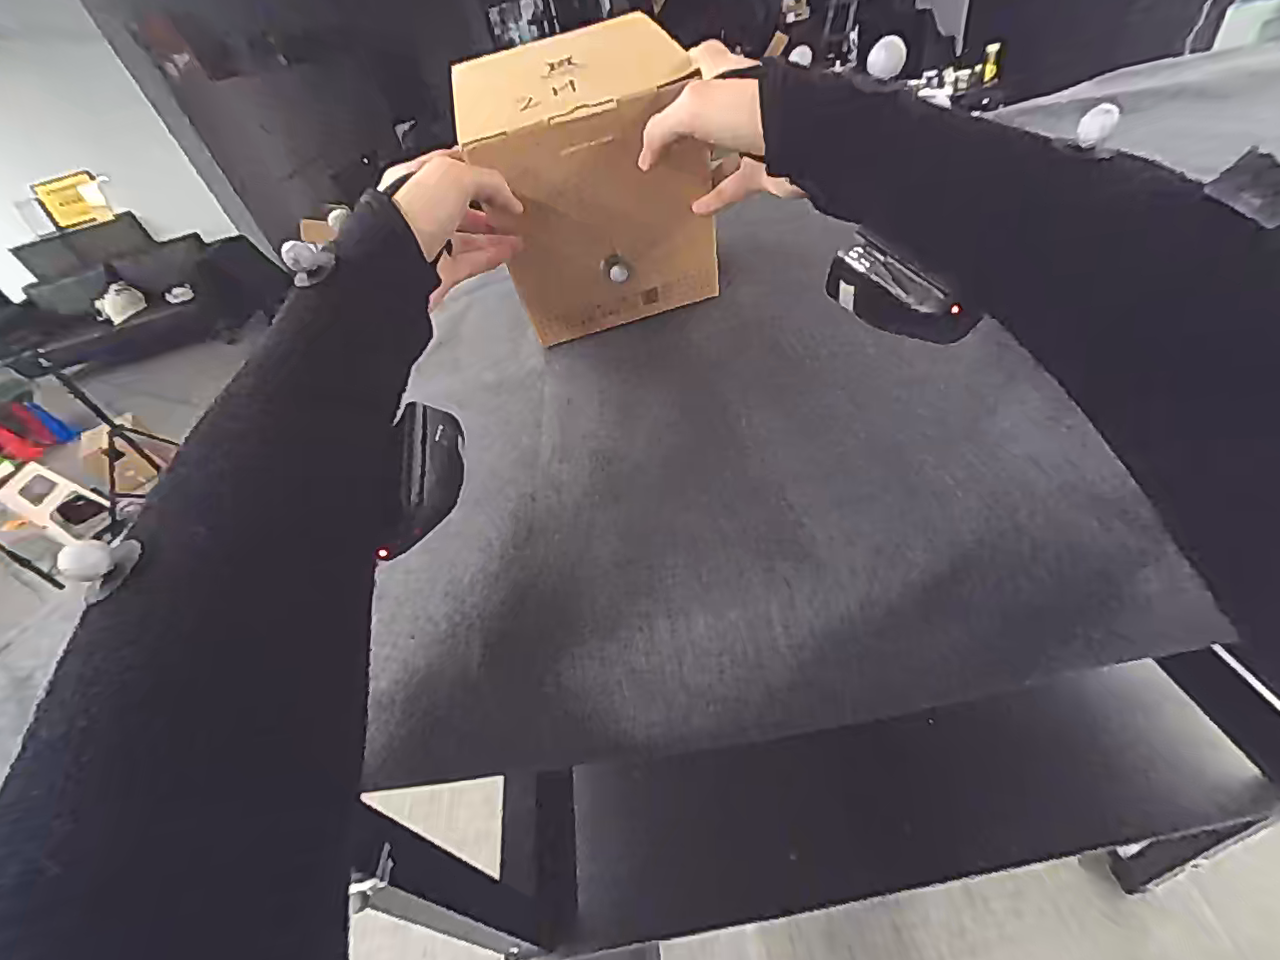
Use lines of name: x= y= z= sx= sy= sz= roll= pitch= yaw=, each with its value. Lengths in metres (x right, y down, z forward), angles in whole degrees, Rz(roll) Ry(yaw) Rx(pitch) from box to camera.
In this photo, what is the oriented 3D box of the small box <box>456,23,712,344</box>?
small box: x=-0.043 y=-0.248 z=0.463 sx=0.168 sy=0.176 sz=0.179 roll=-17 pitch=52 yaw=0
